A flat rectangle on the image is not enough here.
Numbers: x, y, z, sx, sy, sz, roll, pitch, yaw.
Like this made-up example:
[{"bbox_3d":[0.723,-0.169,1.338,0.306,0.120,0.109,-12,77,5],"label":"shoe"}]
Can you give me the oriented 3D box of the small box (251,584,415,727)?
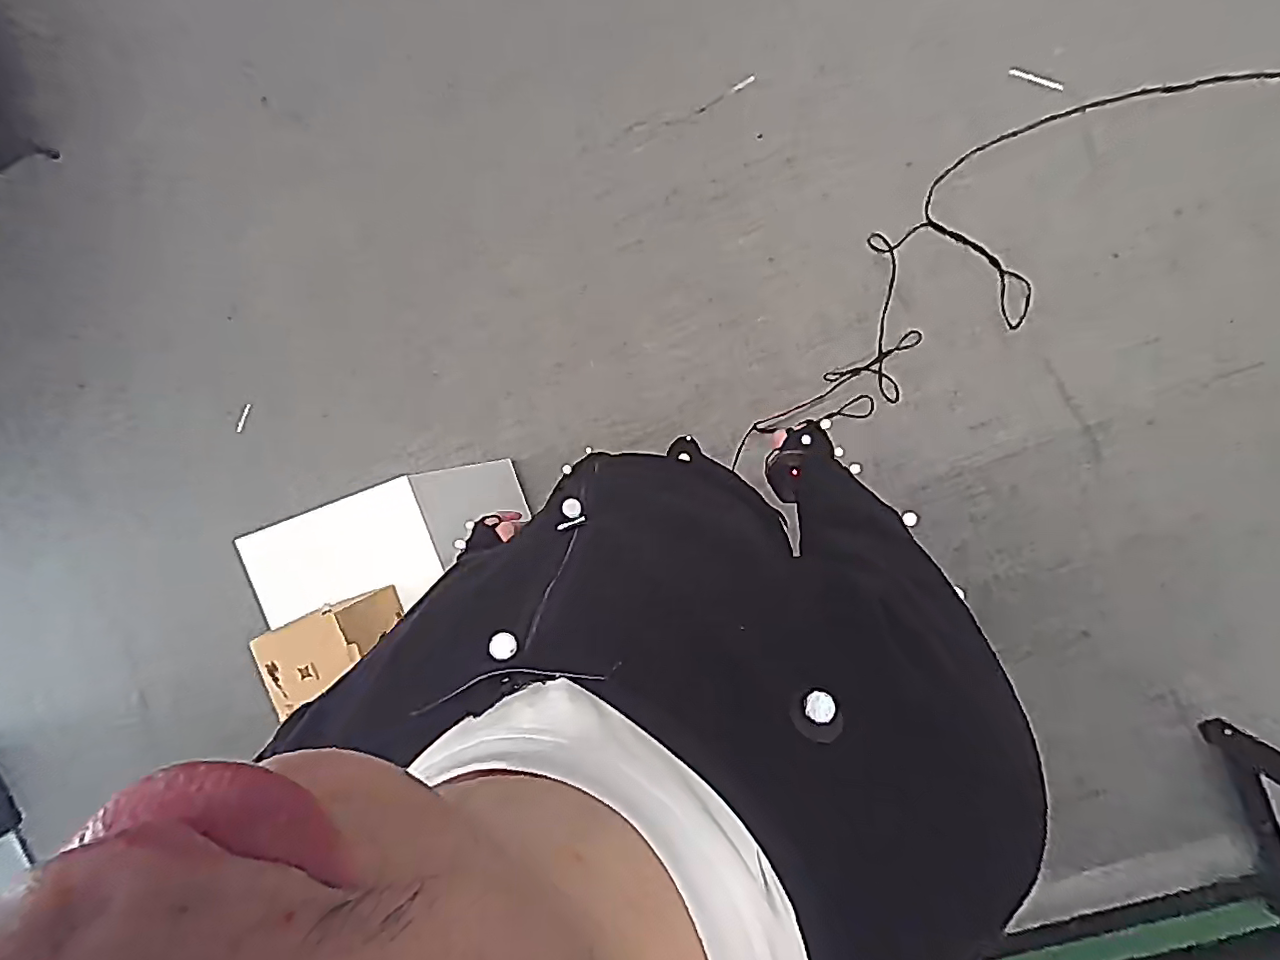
[{"bbox_3d":[-0.539,0.308,0.984,0.179,0.176,0.168,-22,94,9],"label":"small box"}]
